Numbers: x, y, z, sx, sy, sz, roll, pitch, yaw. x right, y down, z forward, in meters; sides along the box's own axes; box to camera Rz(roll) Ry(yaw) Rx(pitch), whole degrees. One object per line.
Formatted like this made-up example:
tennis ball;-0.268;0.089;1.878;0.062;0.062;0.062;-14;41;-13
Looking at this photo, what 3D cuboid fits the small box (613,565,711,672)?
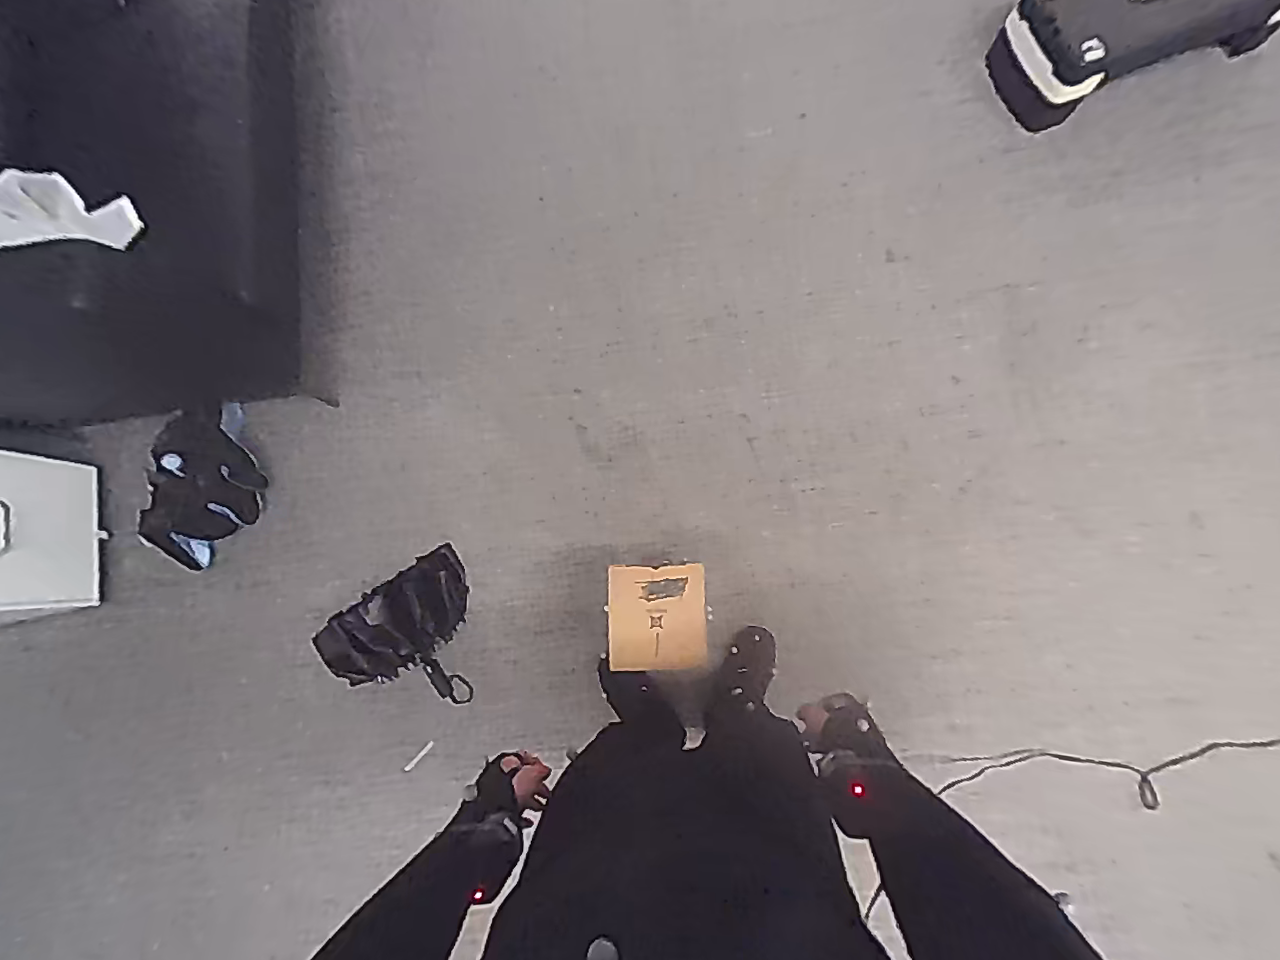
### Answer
small box;0.041;0.247;0.990;0.168;0.176;0.179;-2;81;5
